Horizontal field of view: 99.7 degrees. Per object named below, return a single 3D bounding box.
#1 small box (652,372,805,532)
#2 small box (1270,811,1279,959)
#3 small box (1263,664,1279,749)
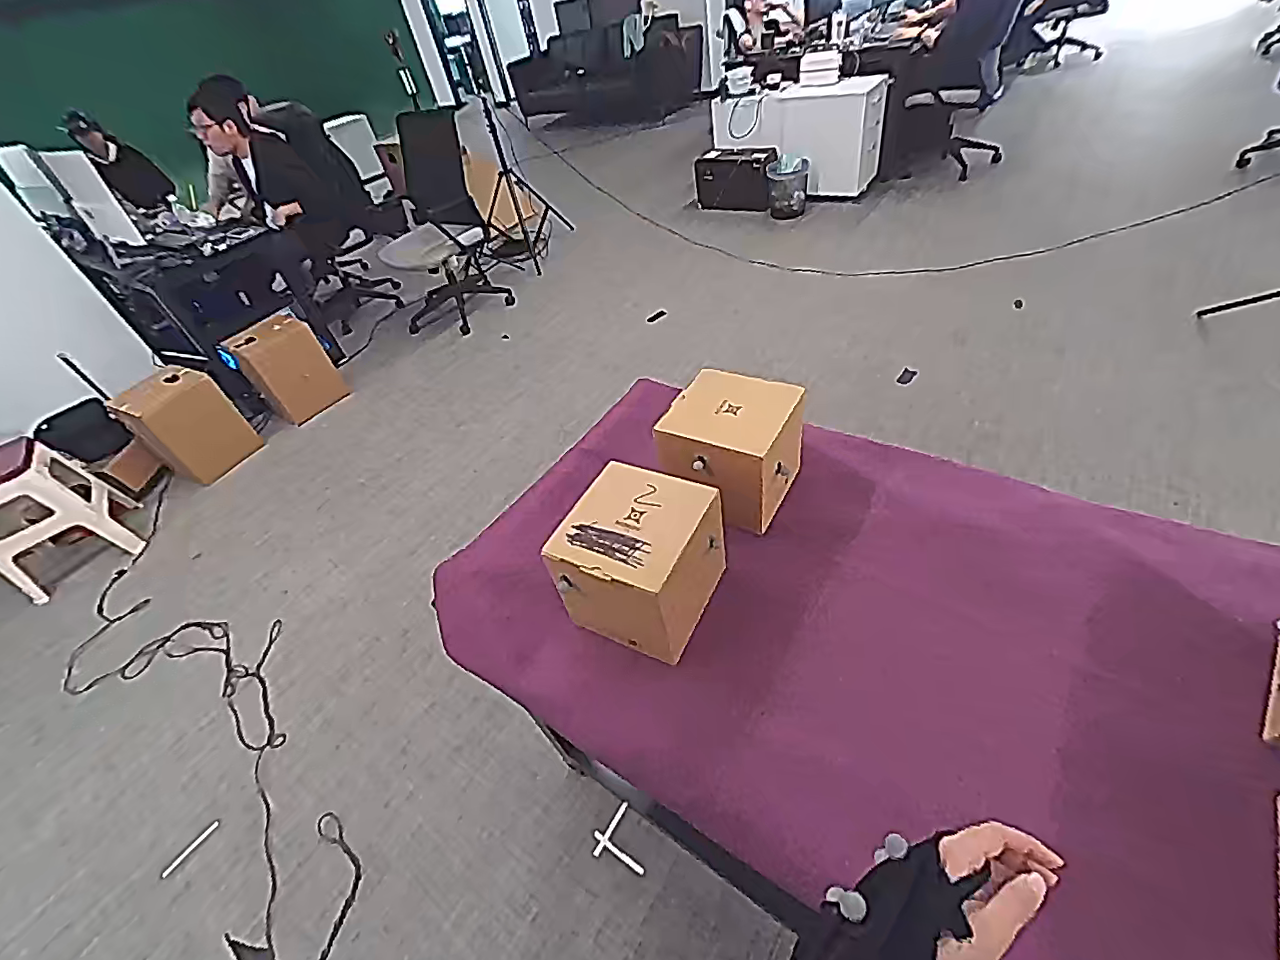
[{"bbox_3d":[0.144,-0.043,0.854,0.179,0.176,0.168,18,52,28],"label":"small box"},{"bbox_3d":[0.605,0.321,0.369,0.179,0.176,0.168,22,52,32],"label":"small box"},{"bbox_3d":[0.719,0.193,0.473,0.179,0.176,0.168,28,58,33],"label":"small box"}]
